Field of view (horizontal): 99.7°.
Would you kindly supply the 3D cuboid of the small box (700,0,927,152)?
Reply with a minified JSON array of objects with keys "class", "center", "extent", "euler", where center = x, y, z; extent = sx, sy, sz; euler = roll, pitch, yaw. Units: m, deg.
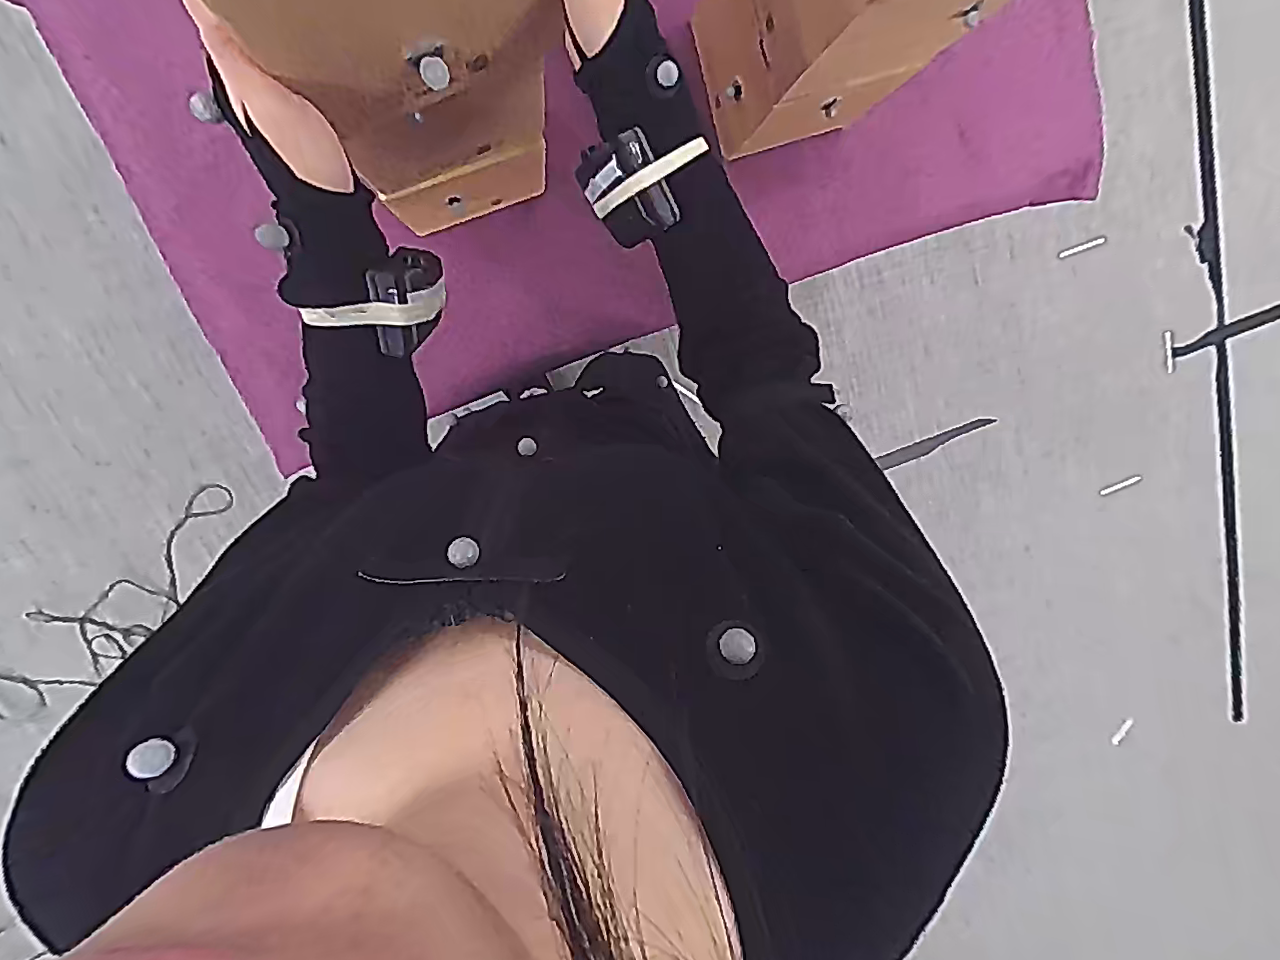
[{"class":"small box","center":[0.178,-0.499,0.604],"extent":[0.179,0.176,0.168],"euler":[-20,106,-6]}]

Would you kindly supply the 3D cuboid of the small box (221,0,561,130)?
[{"class":"small box","center":[-0.144,-0.310,0.247],"extent":[0.168,0.176,0.179],"euler":[-26,104,-3]}]

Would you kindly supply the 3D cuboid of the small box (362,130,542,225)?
[{"class":"small box","center":[-0.208,-0.386,0.564],"extent":[0.168,0.176,0.179],"euler":[-22,105,-4]}]

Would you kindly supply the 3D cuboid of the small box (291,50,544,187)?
[{"class":"small box","center":[-0.182,-0.358,0.406],"extent":[0.168,0.176,0.179],"euler":[-24,105,-3]}]
